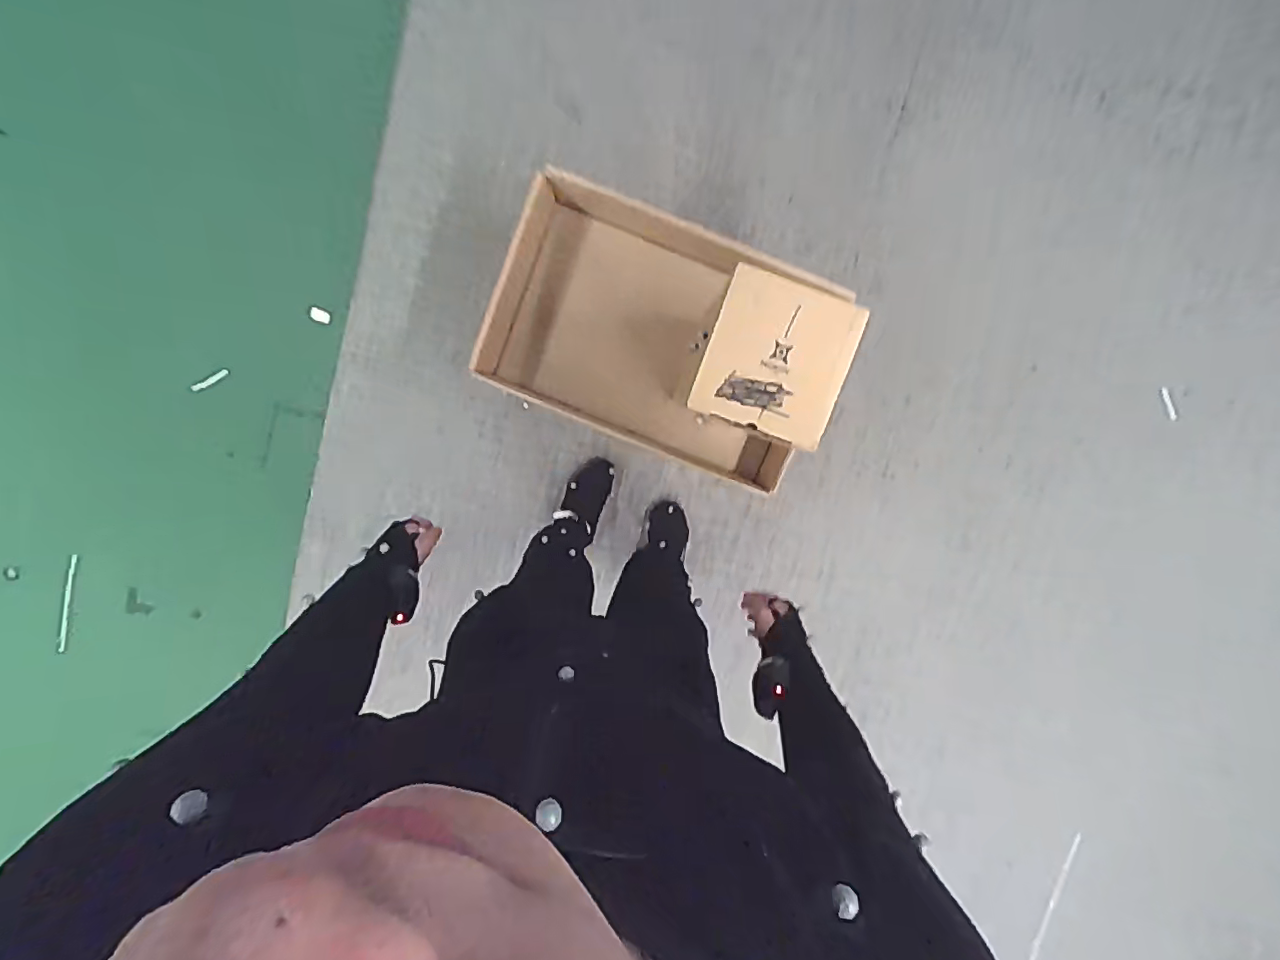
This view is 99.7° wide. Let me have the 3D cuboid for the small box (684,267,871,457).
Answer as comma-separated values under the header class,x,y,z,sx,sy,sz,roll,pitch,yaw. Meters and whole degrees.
class,x,y,z,sx,sy,sz,roll,pitch,yaw
small box,0.162,-0.143,0.704,0.168,0.176,0.179,20,96,-2
